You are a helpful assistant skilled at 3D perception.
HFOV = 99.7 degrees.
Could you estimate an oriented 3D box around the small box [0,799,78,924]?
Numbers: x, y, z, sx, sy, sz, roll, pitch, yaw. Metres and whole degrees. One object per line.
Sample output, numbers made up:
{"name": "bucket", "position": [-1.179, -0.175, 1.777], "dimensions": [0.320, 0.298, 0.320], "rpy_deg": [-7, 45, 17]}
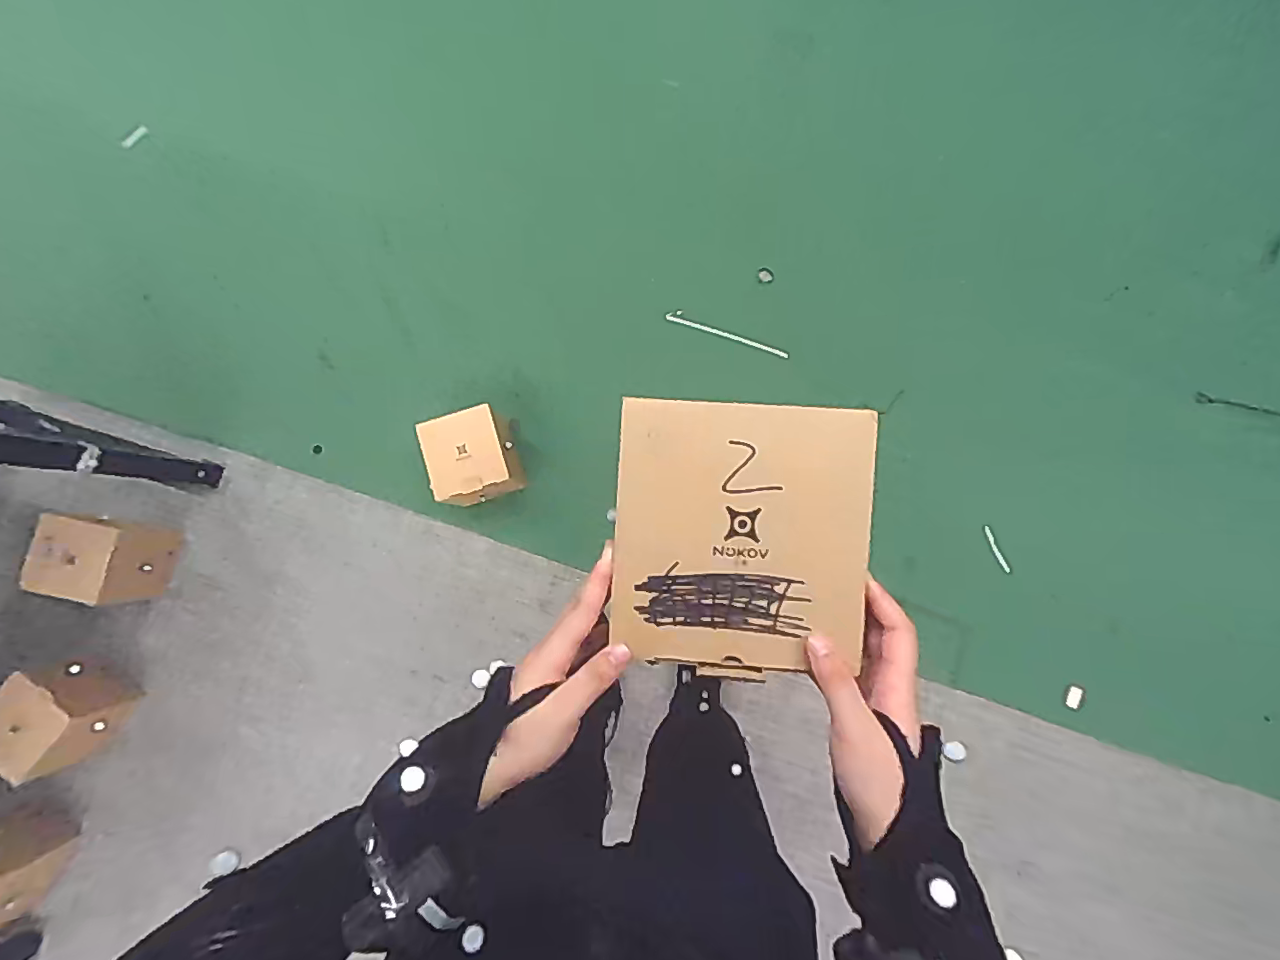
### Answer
{"name": "small box", "position": [-1.388, 0.838, 1.159], "dimensions": [0.168, 0.176, 0.179], "rpy_deg": [30, 87, 3]}

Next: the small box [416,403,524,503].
{"name": "small box", "position": [-0.379, -0.055, 1.231], "dimensions": [0.168, 0.176, 0.179], "rpy_deg": [-18, 86, -1]}

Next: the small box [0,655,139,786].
{"name": "small box", "position": [-1.270, 0.513, 1.186], "dimensions": [0.168, 0.176, 0.179], "rpy_deg": [38, 88, 4]}

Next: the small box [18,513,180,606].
{"name": "small box", "position": [-1.198, 0.172, 1.213], "dimensions": [0.179, 0.176, 0.168], "rpy_deg": [13, 84, 1]}
